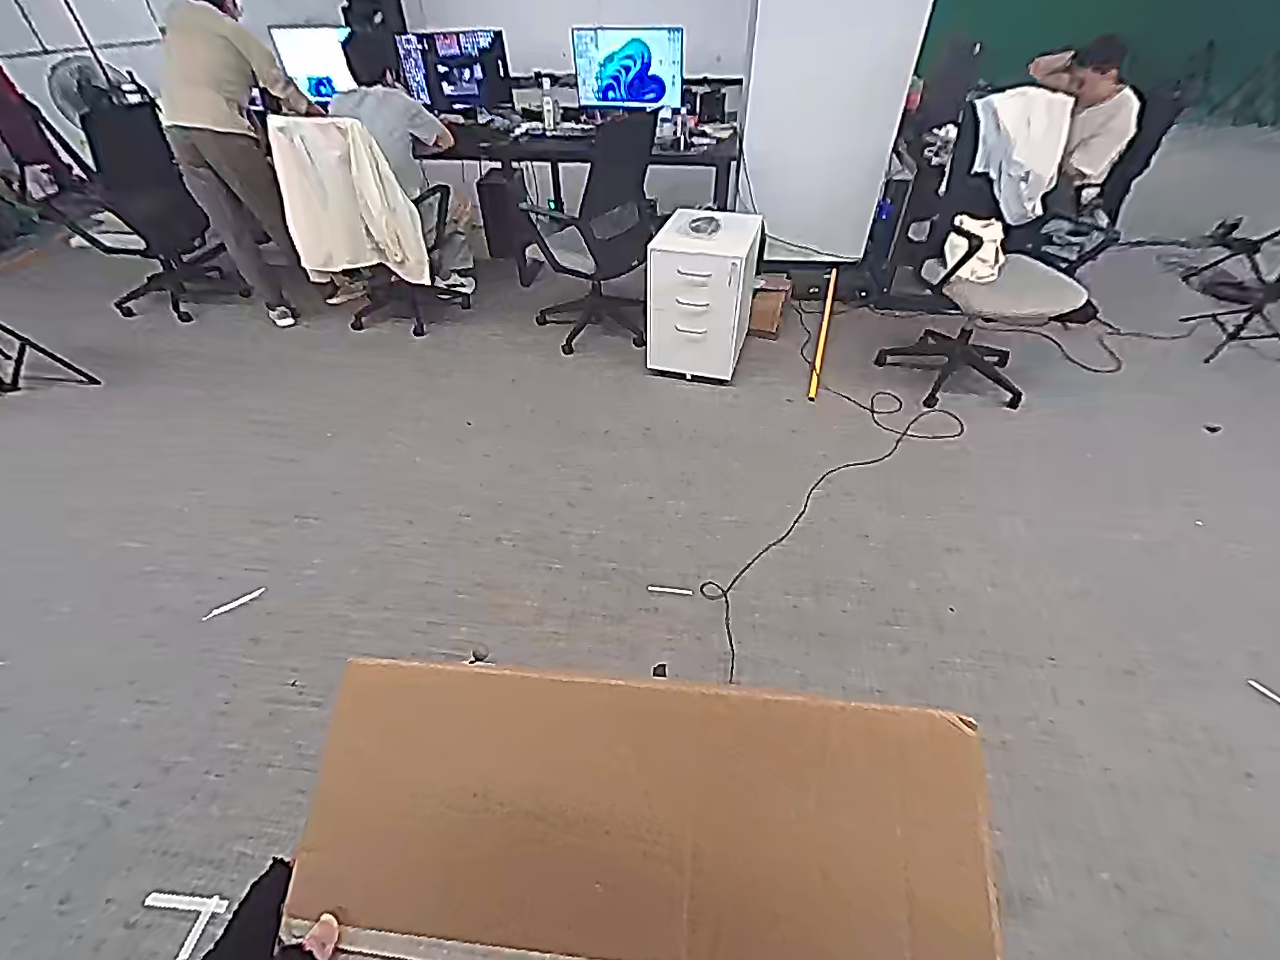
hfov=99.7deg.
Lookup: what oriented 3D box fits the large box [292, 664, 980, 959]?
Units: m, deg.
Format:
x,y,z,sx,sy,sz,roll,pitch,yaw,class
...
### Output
x,y,z,sx,sy,sz,roll,pitch,yaw,class
0.001,0.333,0.450,0.408,0.320,0.320,3,71,7,large box
